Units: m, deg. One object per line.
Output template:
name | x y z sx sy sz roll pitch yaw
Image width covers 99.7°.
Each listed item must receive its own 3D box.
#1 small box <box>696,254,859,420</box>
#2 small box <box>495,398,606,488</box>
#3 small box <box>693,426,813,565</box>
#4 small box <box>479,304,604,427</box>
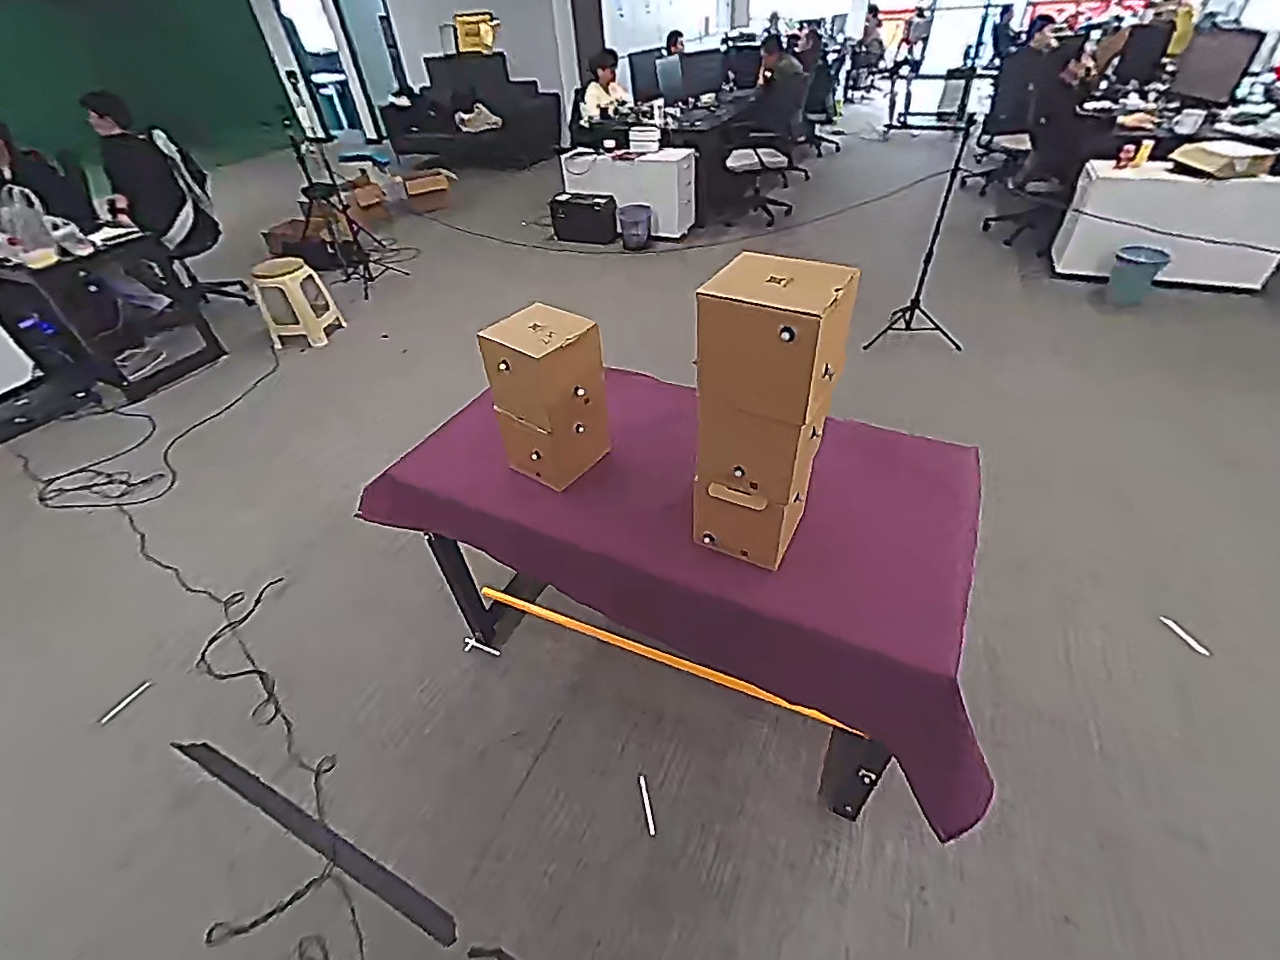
small box | 0.193 -0.210 0.790 0.179 0.176 0.168 21 48 25
small box | -0.189 -0.110 1.205 0.168 0.176 0.179 26 49 28
small box | 0.209 0.029 1.012 0.168 0.176 0.179 18 45 23
small box | -0.192 -0.231 1.095 0.179 0.176 0.168 27 51 29
